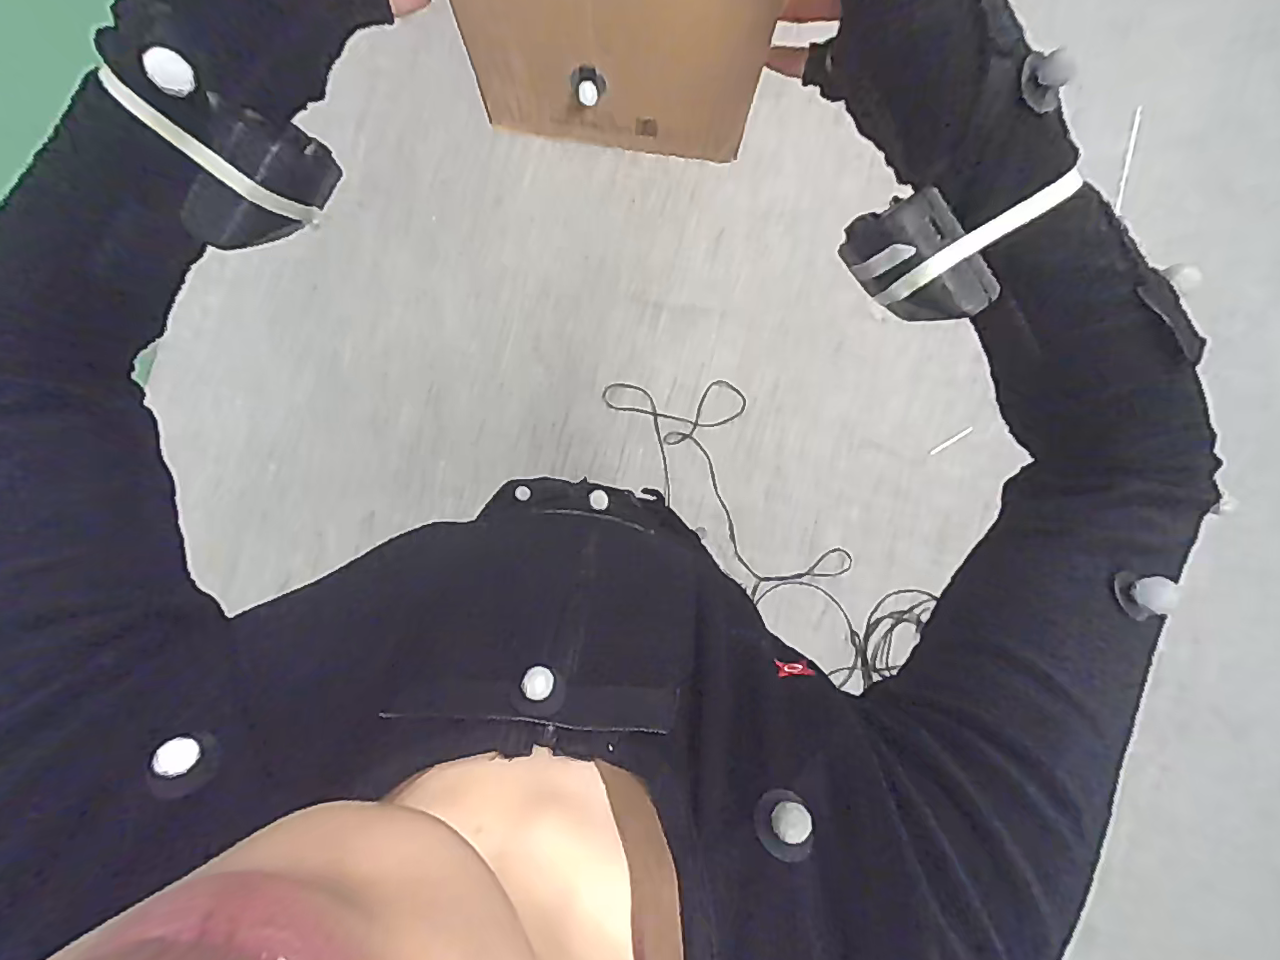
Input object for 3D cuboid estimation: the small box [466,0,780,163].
[{"bbox_3d":[-0.006,-0.317,0.294,0.168,0.176,0.179,7,87,-1],"label":"small box"}]
